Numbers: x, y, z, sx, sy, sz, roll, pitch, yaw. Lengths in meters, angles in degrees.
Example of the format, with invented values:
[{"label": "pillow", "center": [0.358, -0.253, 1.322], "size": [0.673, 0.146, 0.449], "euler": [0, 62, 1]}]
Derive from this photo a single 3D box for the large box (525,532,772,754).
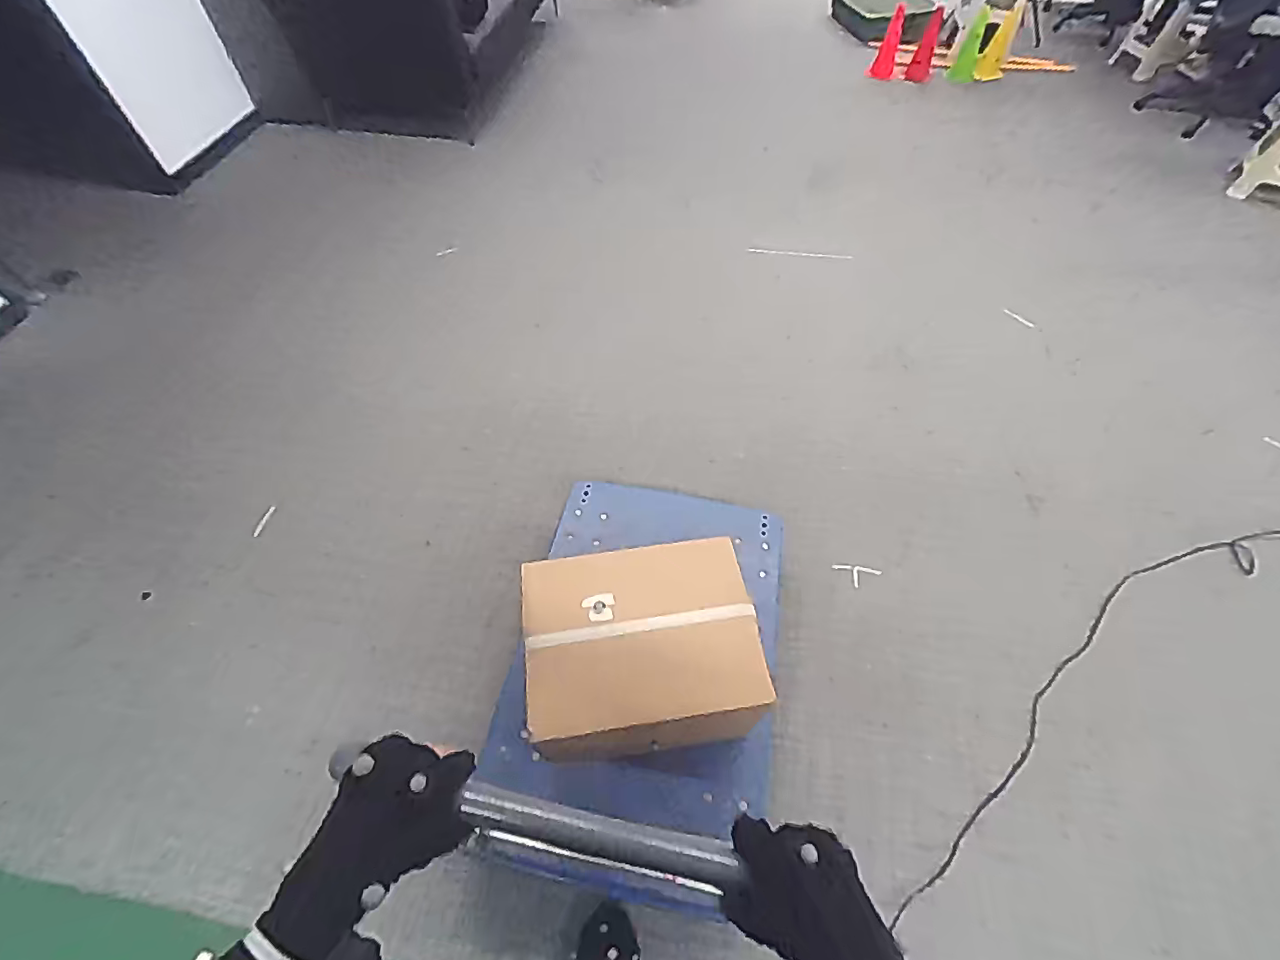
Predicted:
[{"label": "large box", "center": [0.003, 0.333, 1.077], "size": [0.408, 0.320, 0.320], "euler": [-7, 56, -4]}]
